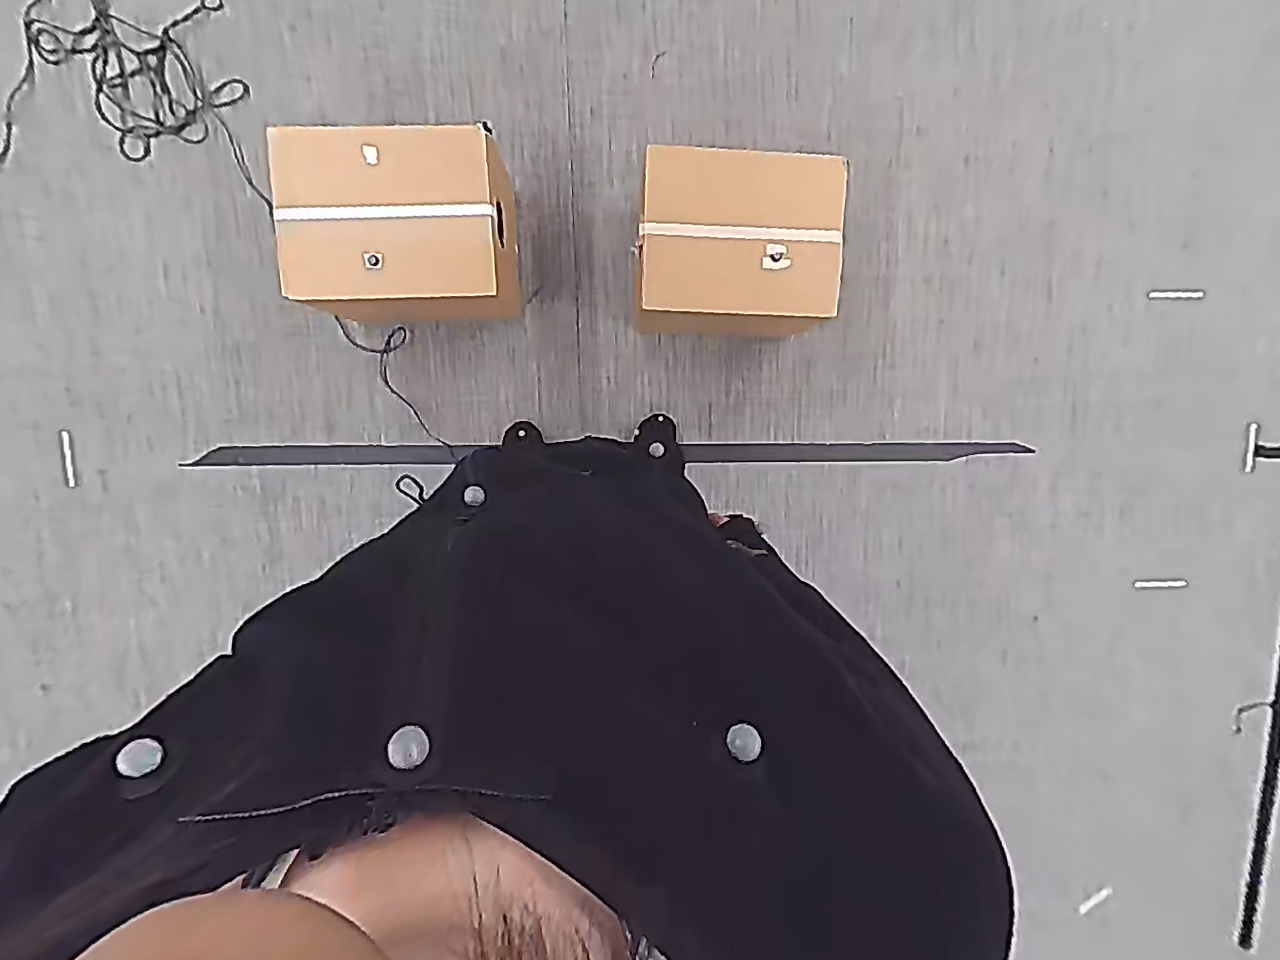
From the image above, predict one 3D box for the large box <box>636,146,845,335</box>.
[{"bbox_3d":[0.198,-0.514,1.232,0.408,0.320,0.320,1,97,-4],"label":"large box"}]
